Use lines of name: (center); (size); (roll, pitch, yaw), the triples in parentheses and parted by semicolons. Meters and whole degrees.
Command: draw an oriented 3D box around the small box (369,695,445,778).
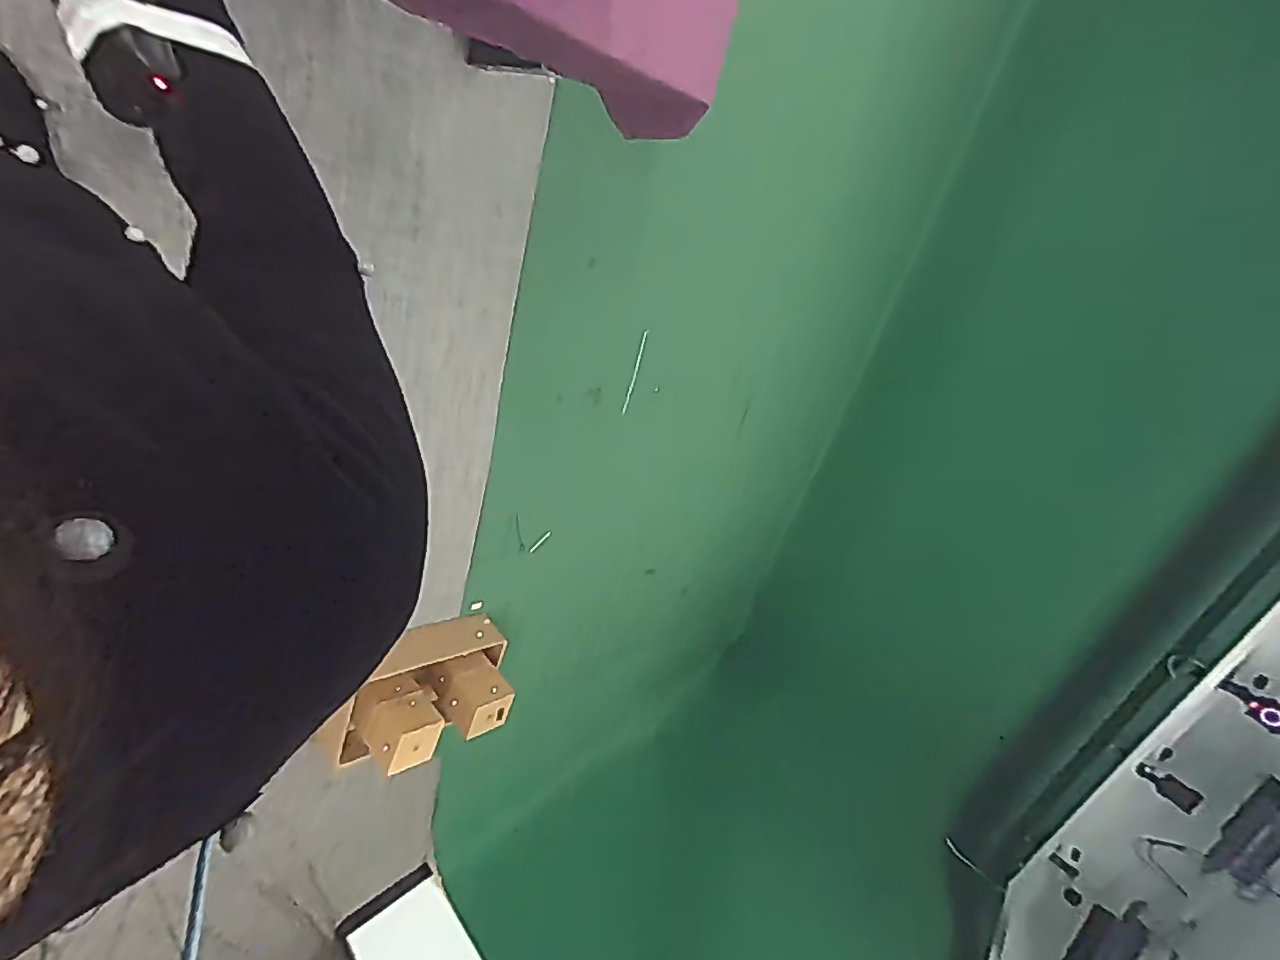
small box: (-0.819, 0.890, 1.891); (0.168, 0.176, 0.179); (5, 111, -54)

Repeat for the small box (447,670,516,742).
small box: (-0.625, 0.877, 2.121); (0.179, 0.176, 0.168); (-2, 120, -51)
